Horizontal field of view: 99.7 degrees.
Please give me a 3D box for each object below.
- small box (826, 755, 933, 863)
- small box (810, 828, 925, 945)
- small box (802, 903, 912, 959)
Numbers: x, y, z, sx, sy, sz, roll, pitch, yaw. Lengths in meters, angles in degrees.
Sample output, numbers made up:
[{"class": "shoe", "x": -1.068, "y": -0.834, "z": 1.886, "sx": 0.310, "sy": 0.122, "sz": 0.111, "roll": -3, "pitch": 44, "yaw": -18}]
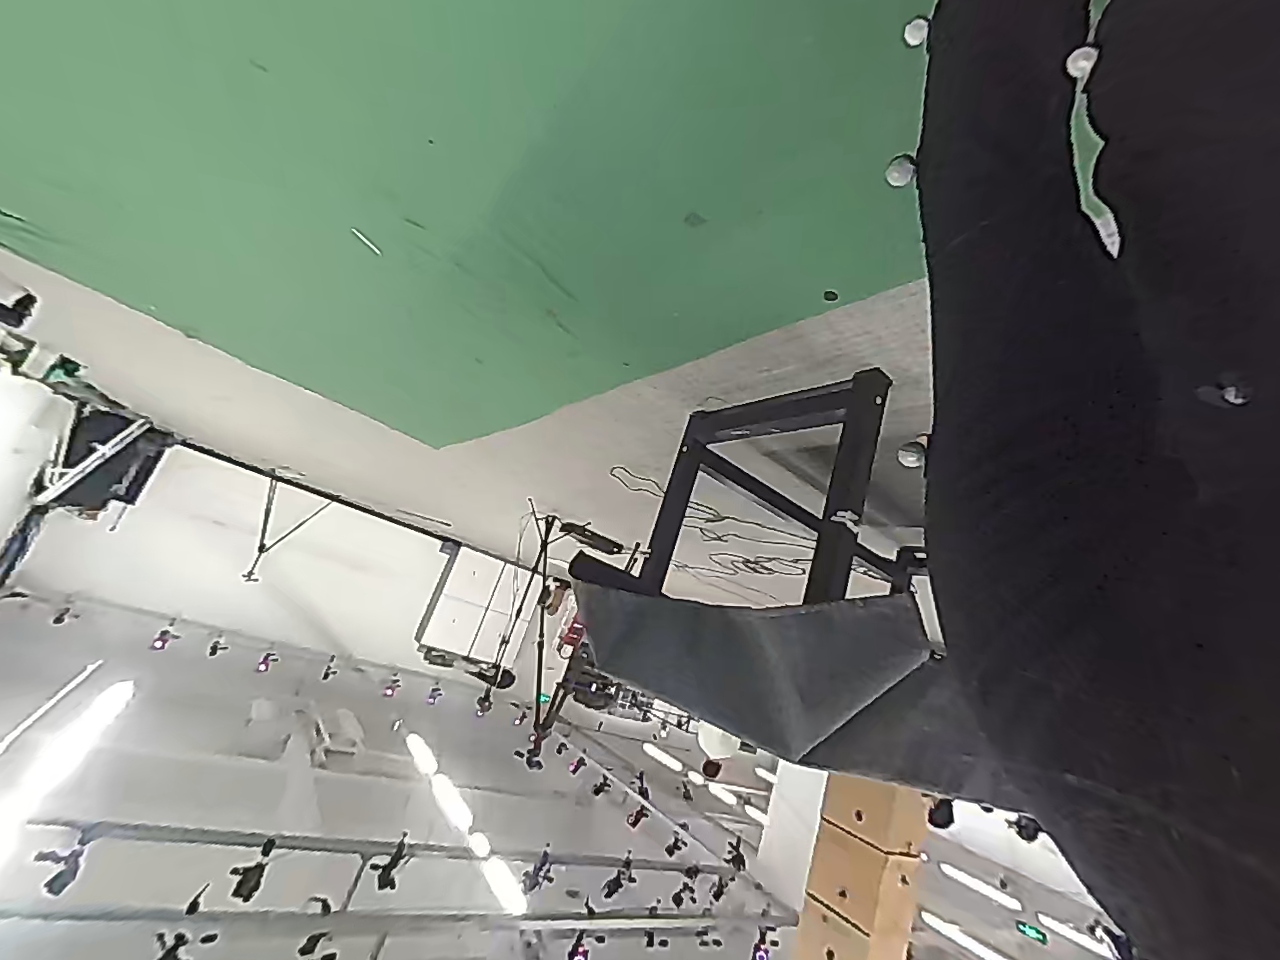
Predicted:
[{"class": "small box", "x": 0.586, "y": 0.790, "z": 1.310, "sx": 0.168, "sy": 0.176, "sz": 0.179, "roll": 29, "pitch": 162, "yaw": -29}, {"class": "small box", "x": 0.534, "y": 0.936, "z": 1.264, "sx": 0.168, "sy": 0.176, "sz": 0.179, "roll": 29, "pitch": 161, "yaw": -29}, {"class": "small box", "x": 0.481, "y": 1.084, "z": 1.214, "sx": 0.179, "sy": 0.176, "sz": 0.168, "roll": 30, "pitch": 161, "yaw": -31}]
